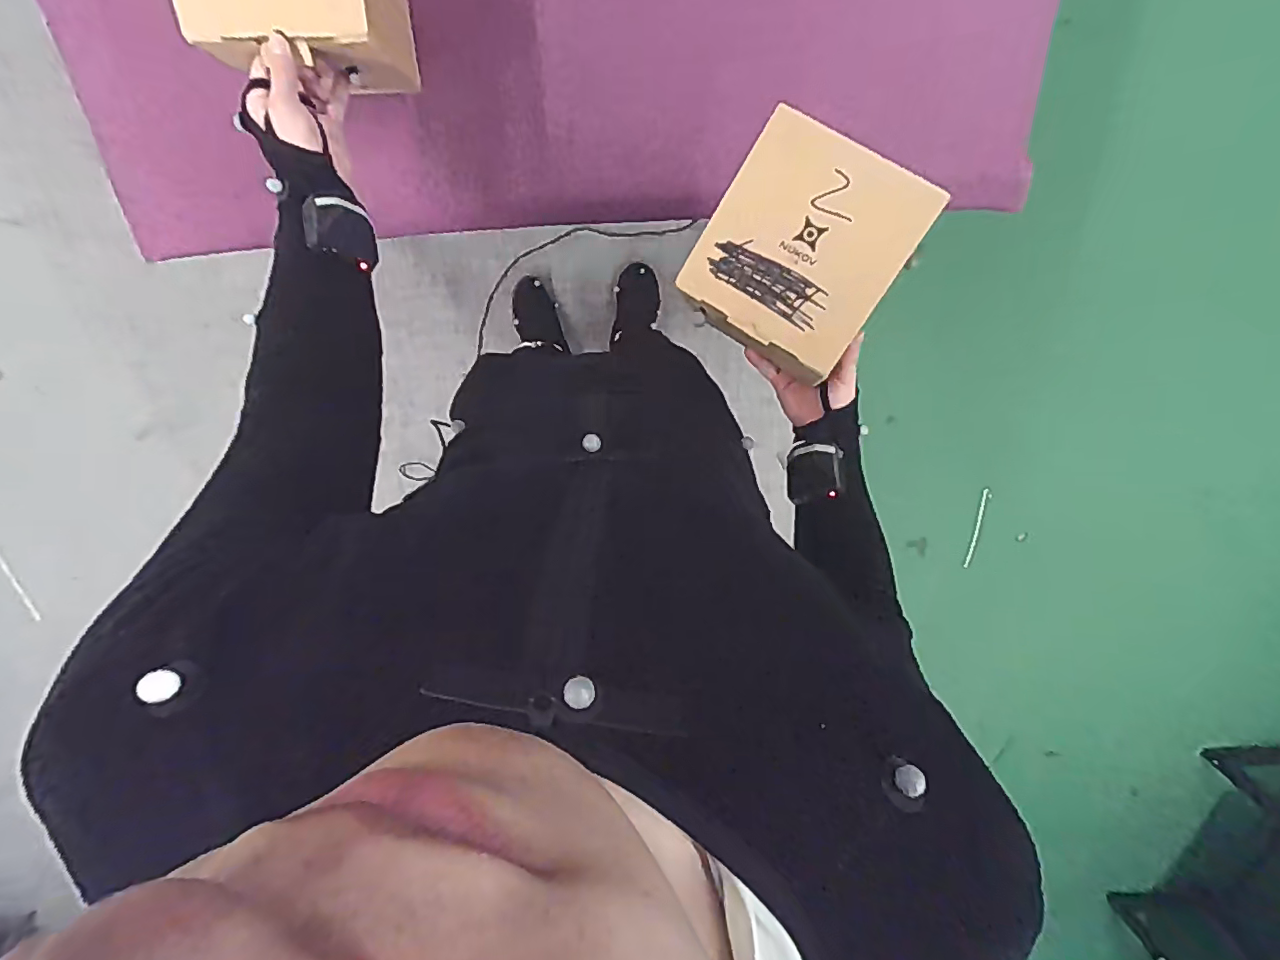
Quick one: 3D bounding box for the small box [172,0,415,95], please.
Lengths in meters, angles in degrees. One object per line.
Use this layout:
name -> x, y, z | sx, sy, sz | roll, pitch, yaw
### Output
small box -> -0.342, -0.510, 0.541 | 0.168, 0.176, 0.179 | -3, 110, -5
